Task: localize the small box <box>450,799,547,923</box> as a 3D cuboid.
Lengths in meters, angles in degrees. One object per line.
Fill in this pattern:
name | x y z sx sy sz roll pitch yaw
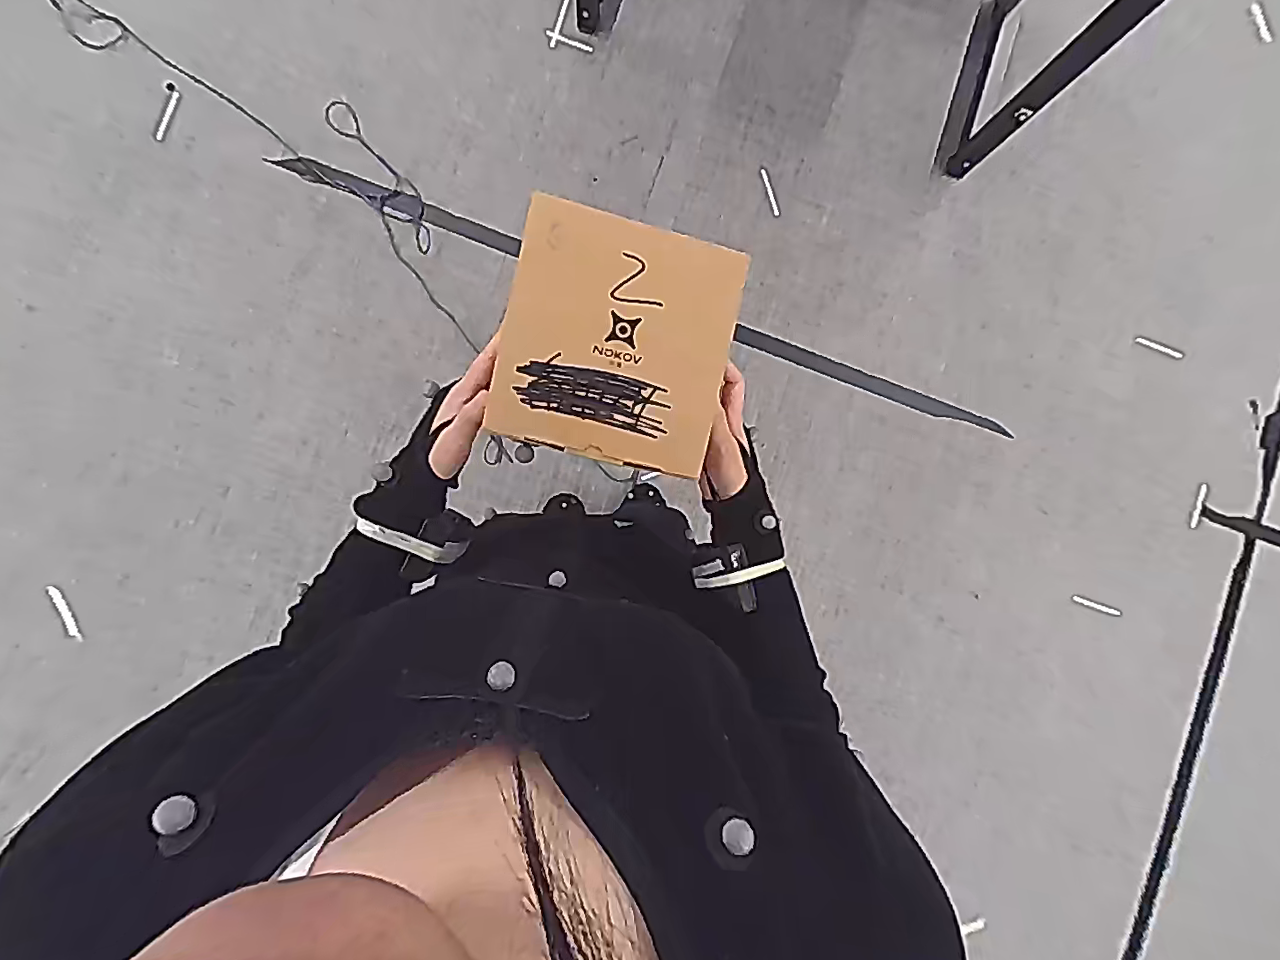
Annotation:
small box | -0.347 0.955 1.372 0.179 0.176 0.168 27 87 -5
